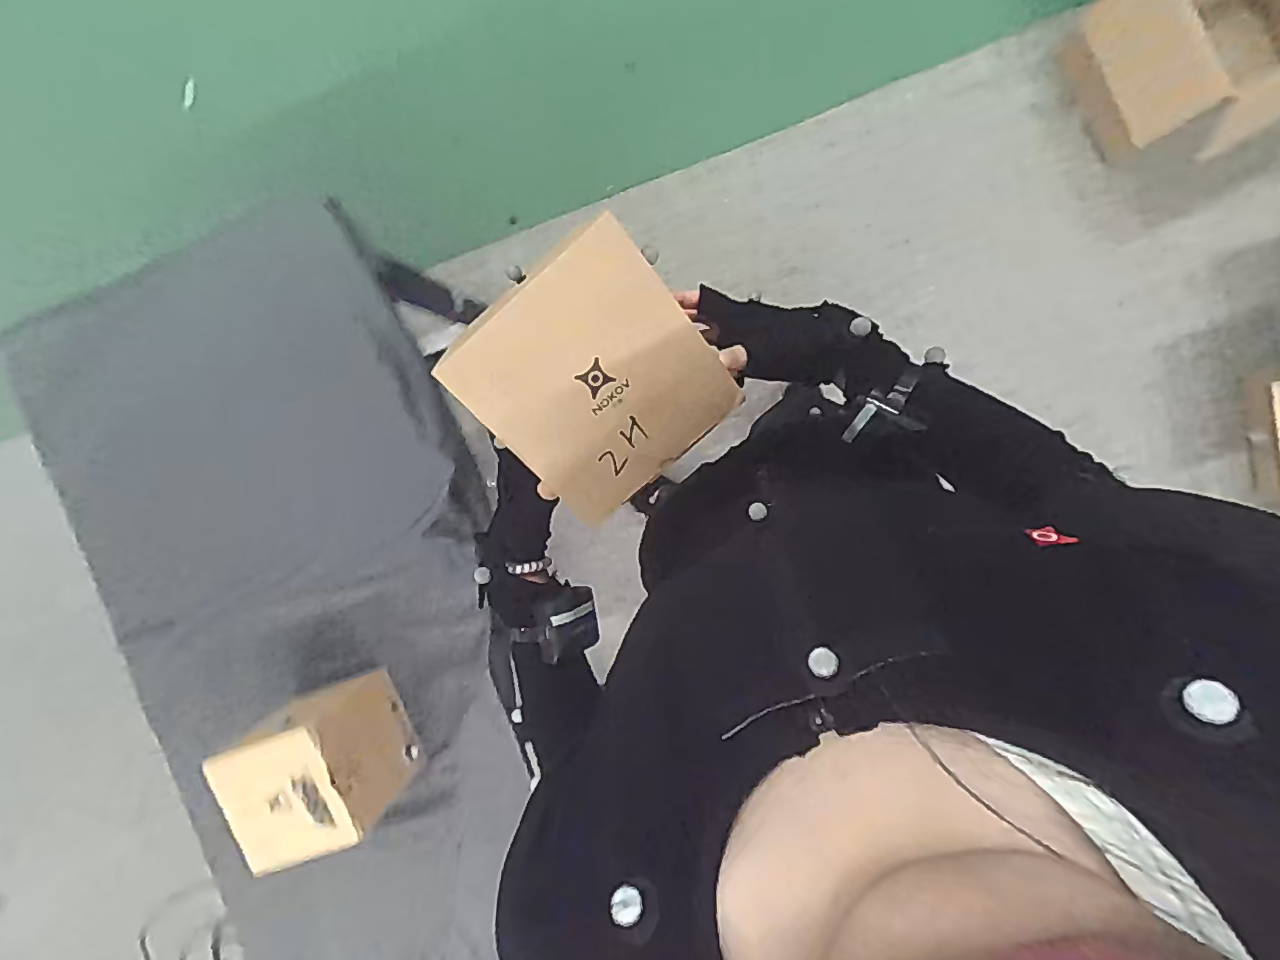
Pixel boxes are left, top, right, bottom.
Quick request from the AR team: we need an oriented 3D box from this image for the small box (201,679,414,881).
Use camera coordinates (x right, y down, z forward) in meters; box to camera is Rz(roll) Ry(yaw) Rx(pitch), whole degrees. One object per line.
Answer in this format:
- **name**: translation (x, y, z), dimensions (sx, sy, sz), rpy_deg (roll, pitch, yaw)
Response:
- **small box**: translation (-0.453, 0.413, 0.772), dimensions (0.179, 0.176, 0.168), rpy_deg (-22, 93, 9)

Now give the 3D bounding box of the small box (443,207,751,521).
- **small box**: translation (-0.041, -0.102, 0.472), dimensions (0.168, 0.176, 0.179), rpy_deg (-39, 115, 5)
